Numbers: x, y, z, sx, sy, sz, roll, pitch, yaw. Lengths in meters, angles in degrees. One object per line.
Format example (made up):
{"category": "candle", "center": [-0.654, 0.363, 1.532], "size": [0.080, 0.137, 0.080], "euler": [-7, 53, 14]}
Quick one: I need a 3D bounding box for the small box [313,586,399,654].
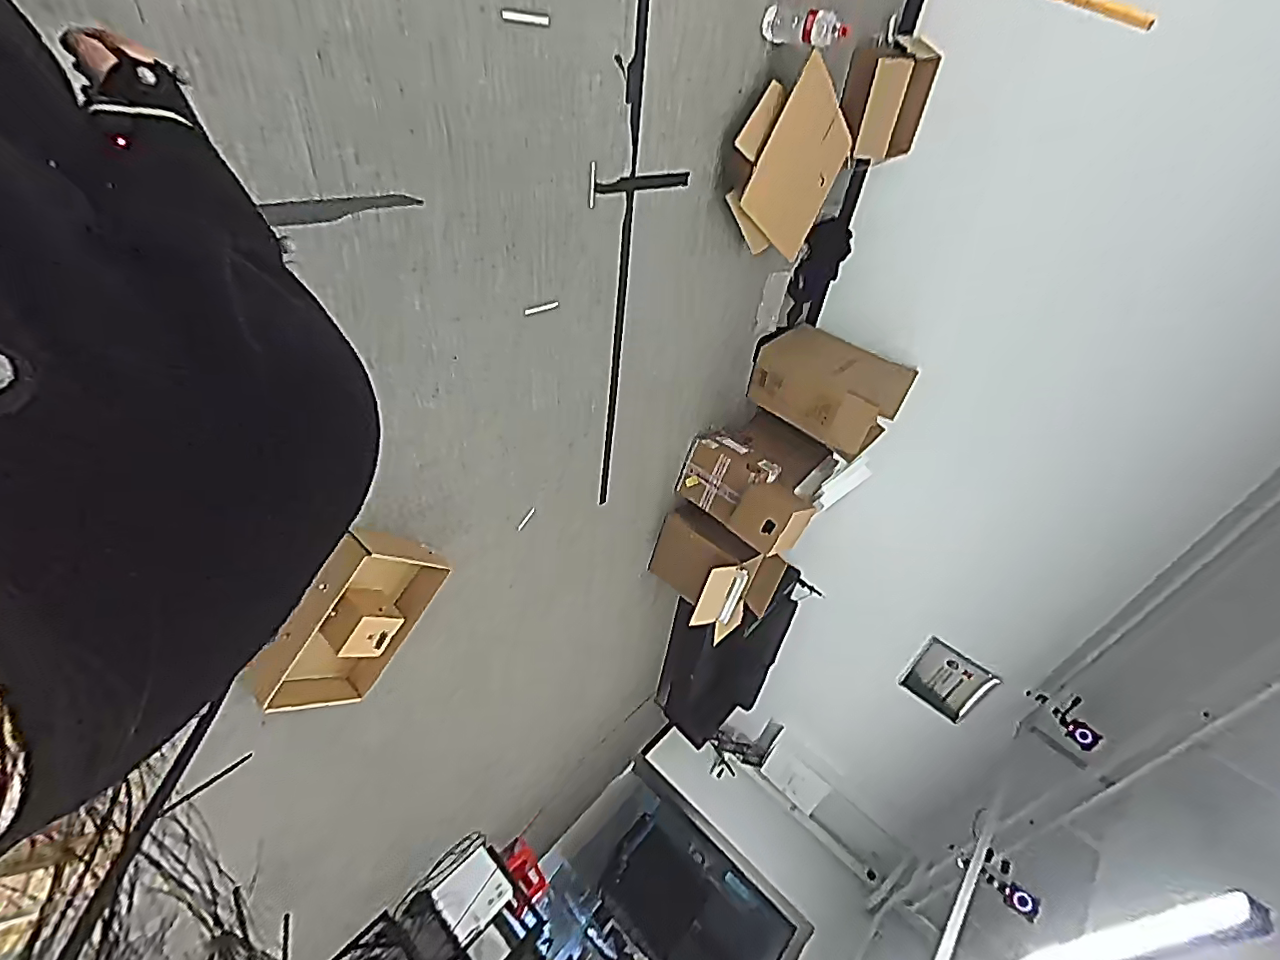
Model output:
{"category": "small box", "center": [-1.002, 0.492, 1.906], "size": [0.168, 0.176, 0.179], "euler": [-56, 152, 0]}
